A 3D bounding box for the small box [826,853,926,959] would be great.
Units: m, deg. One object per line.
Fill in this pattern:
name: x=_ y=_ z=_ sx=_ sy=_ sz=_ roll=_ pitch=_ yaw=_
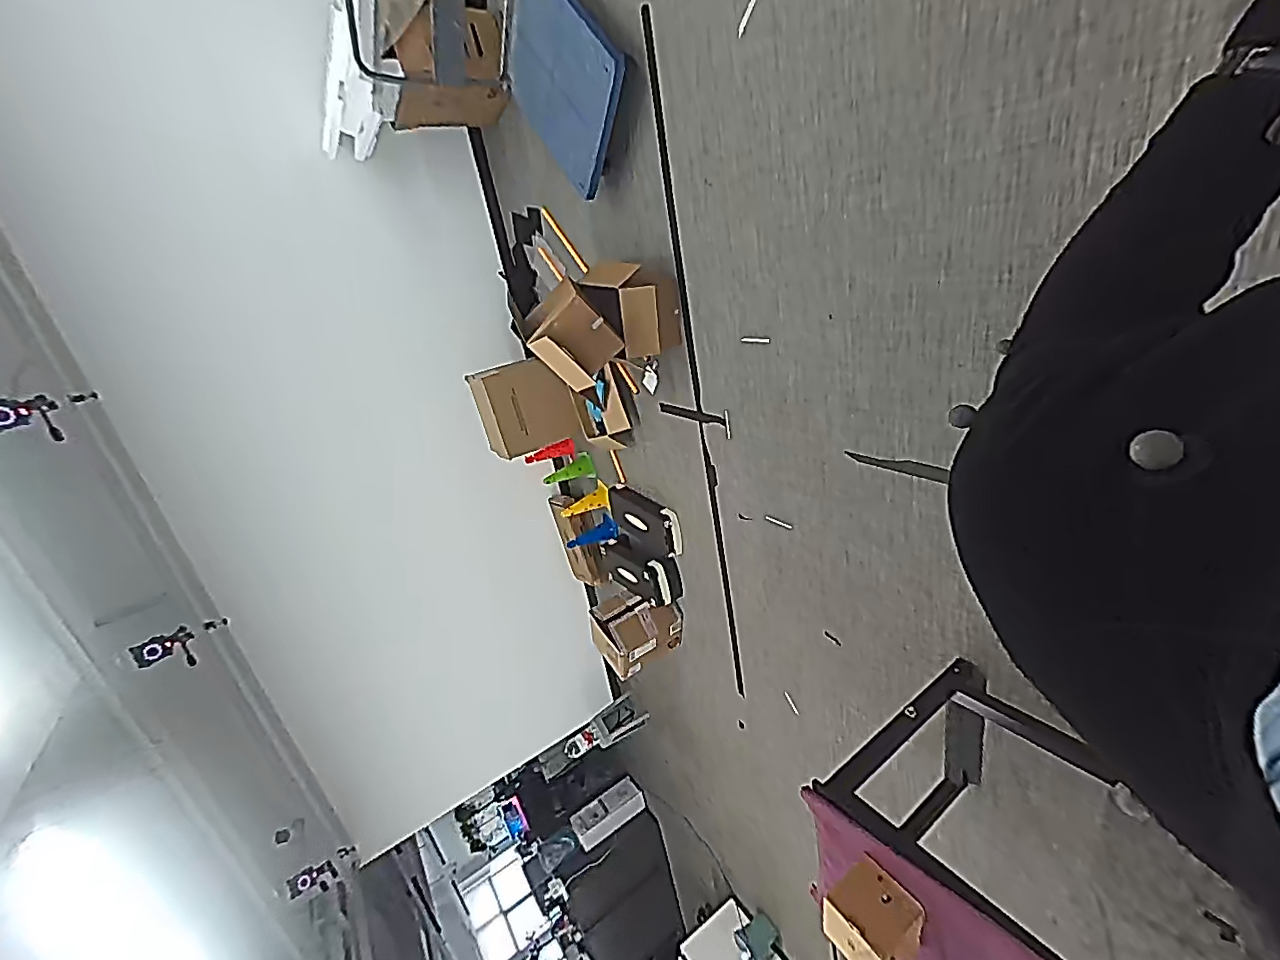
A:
small box: x=0.589 y=1.098 z=1.355 sx=0.168 sy=0.176 sz=0.179 roll=28 pitch=135 yaw=51
